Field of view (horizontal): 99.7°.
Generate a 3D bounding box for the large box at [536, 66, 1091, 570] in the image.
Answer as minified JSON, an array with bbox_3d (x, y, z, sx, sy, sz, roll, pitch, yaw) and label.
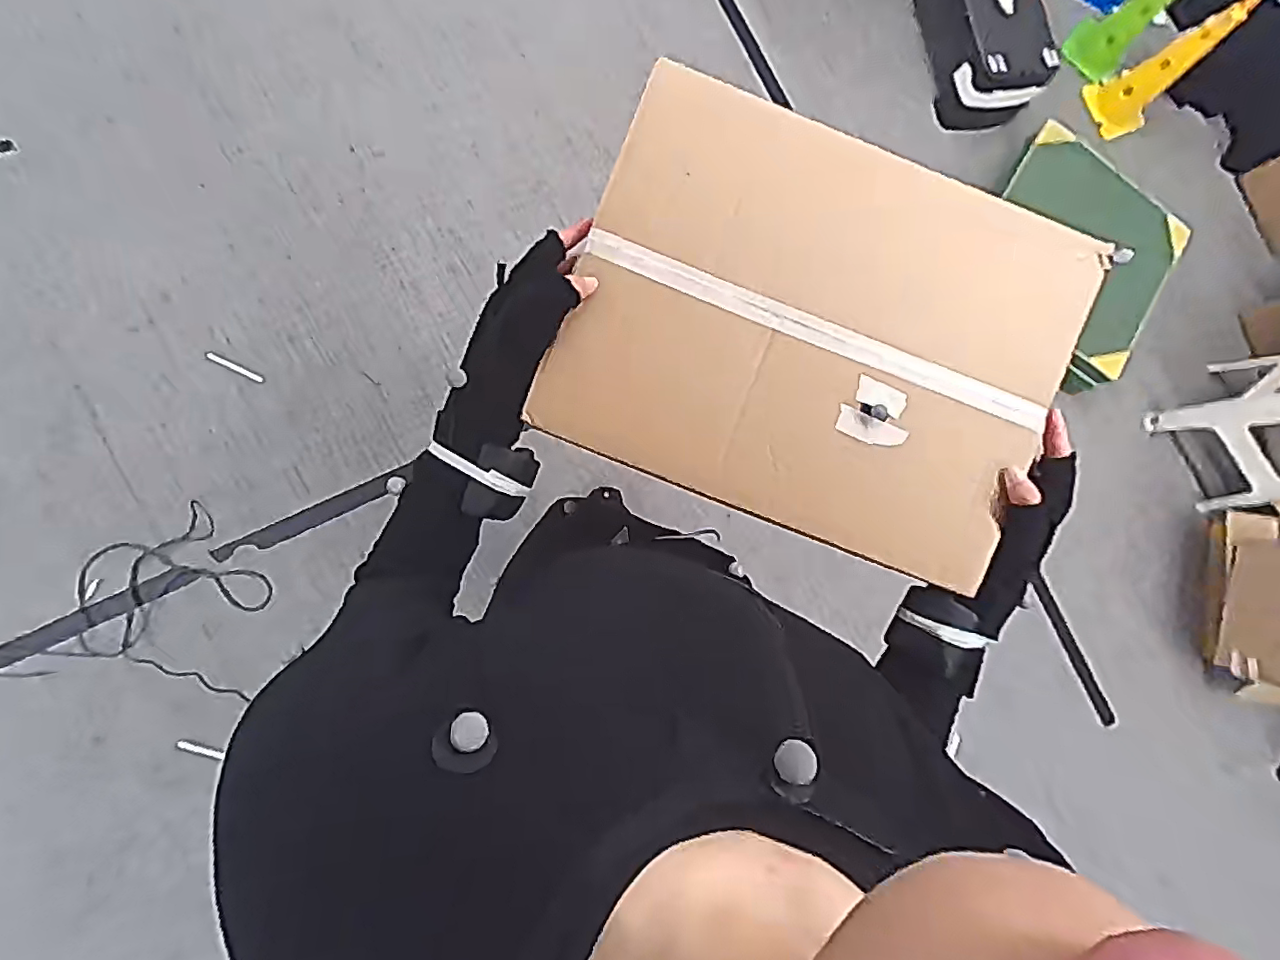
[{"bbox_3d":[0.142,-0.138,0.605,0.408,0.320,0.320,22,93,-3],"label":"large box"}]
